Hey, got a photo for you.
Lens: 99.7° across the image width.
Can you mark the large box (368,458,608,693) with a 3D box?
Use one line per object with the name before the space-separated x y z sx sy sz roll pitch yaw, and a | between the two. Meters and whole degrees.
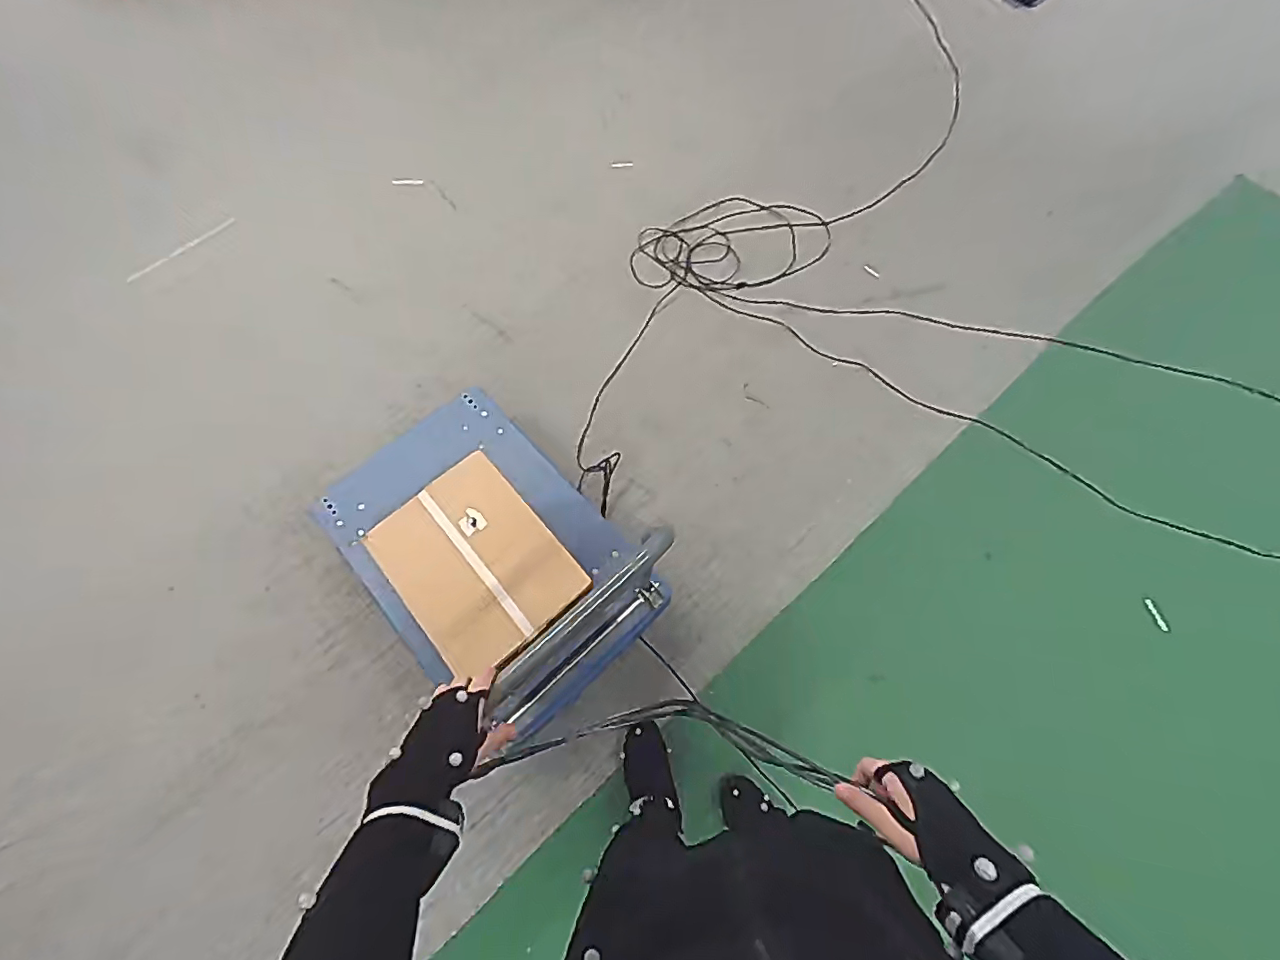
large box | -0.328 0.233 1.259 0.320 0.320 0.408 -39 70 -14
